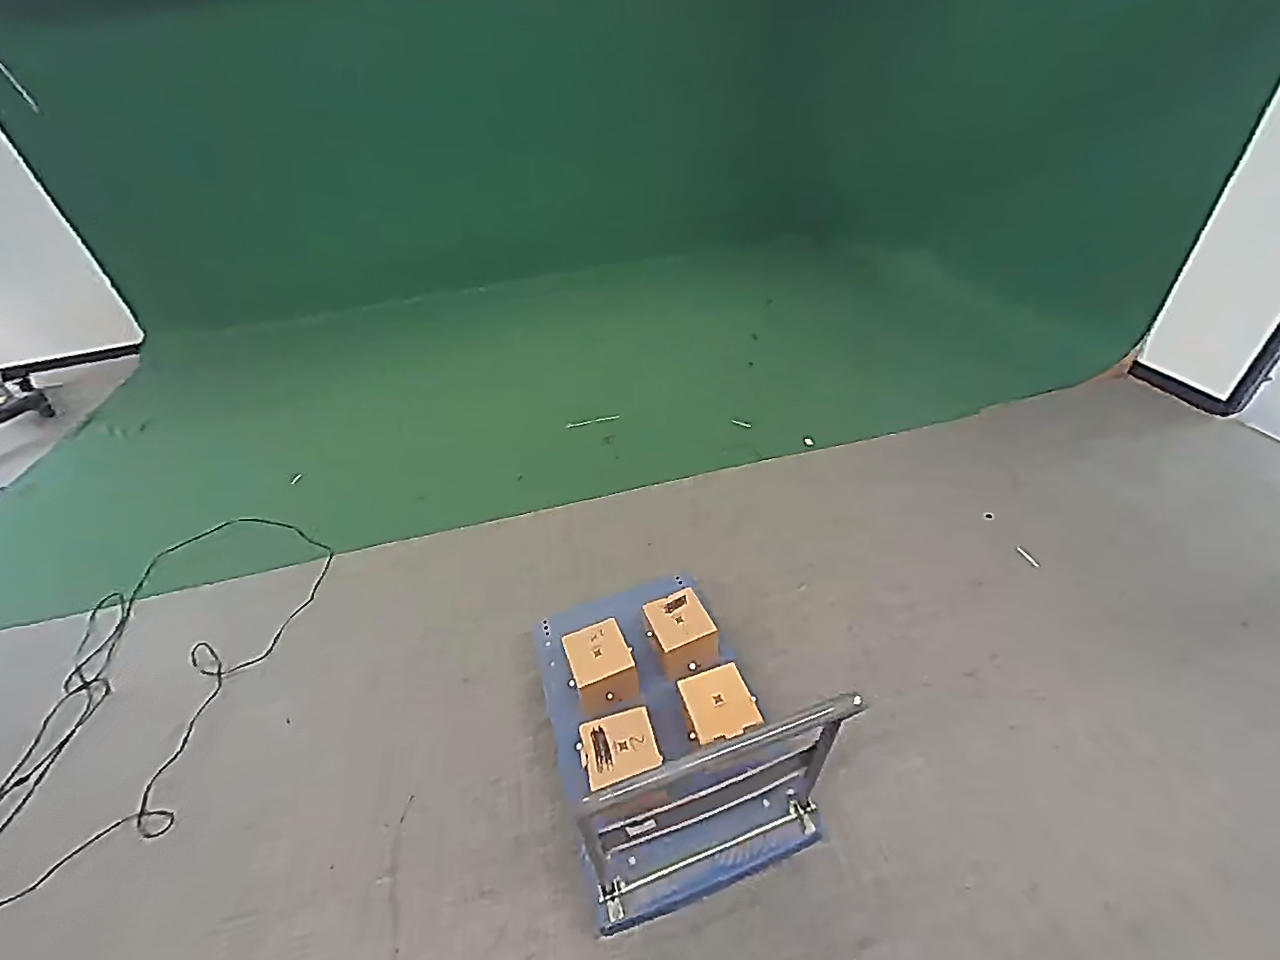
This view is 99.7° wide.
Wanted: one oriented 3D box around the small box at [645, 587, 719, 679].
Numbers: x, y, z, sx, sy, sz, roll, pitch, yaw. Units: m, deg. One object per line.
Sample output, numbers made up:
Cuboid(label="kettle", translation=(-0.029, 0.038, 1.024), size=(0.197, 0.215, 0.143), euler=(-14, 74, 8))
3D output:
Cuboid(label="small box", translation=(0.123, 0.460, 1.621), size=(0.168, 0.176, 0.179), euler=(-19, 43, -13))

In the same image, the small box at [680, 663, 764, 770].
Cuboid(label="small box", translation=(0.209, 0.621, 1.422), size=(0.168, 0.176, 0.179), euler=(-15, 41, -10))

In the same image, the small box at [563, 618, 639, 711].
Cuboid(label="small box", translation=(-0.110, 0.538, 1.561), size=(0.168, 0.176, 0.179), euler=(-17, 41, -14))
